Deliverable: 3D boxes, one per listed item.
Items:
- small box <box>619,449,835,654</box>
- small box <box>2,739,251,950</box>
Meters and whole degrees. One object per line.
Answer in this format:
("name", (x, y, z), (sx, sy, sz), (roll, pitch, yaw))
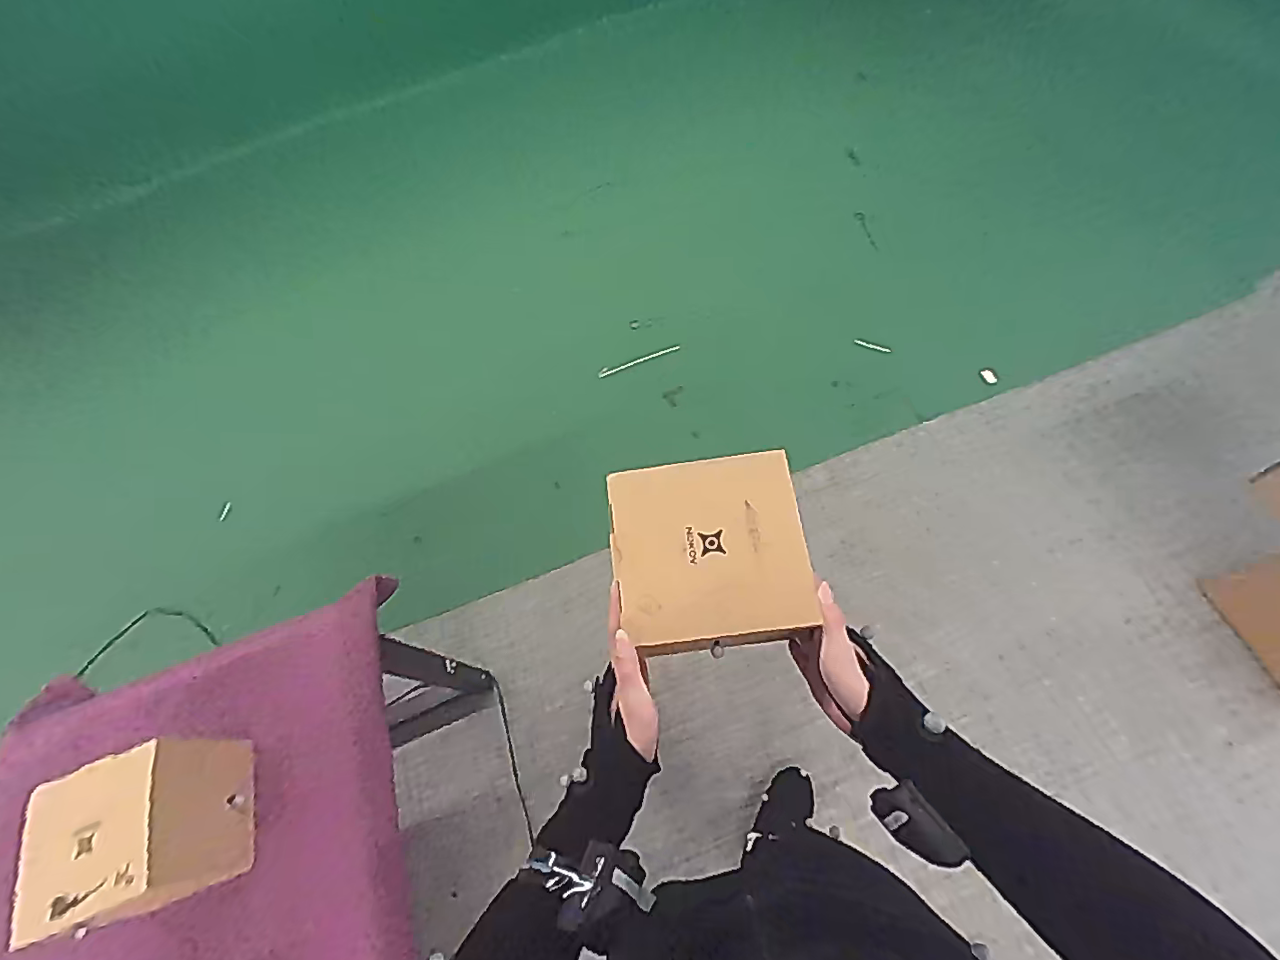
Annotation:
("small box", (0.080, 0.084, 0.559), (0.179, 0.176, 0.168), (-7, 69, 3))
("small box", (-0.659, 0.470, 0.723), (0.168, 0.176, 0.179), (-22, 62, -2))
